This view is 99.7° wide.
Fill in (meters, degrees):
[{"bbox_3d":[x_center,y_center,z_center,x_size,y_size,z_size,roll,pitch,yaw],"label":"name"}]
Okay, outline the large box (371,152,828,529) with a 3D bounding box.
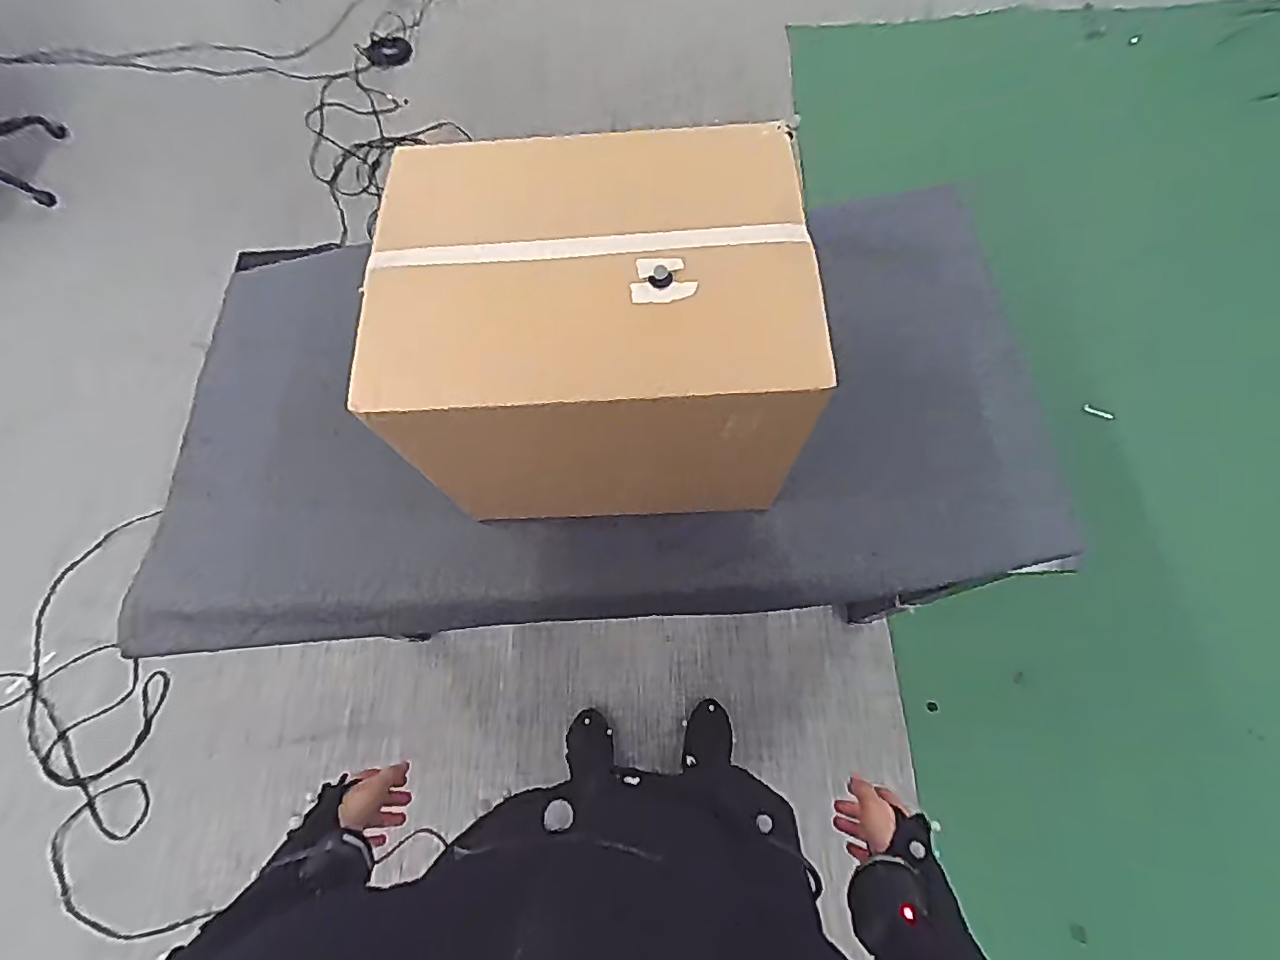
[{"bbox_3d":[-0.038,-0.138,0.655,0.408,0.320,0.320,-3,69,2],"label":"large box"}]
